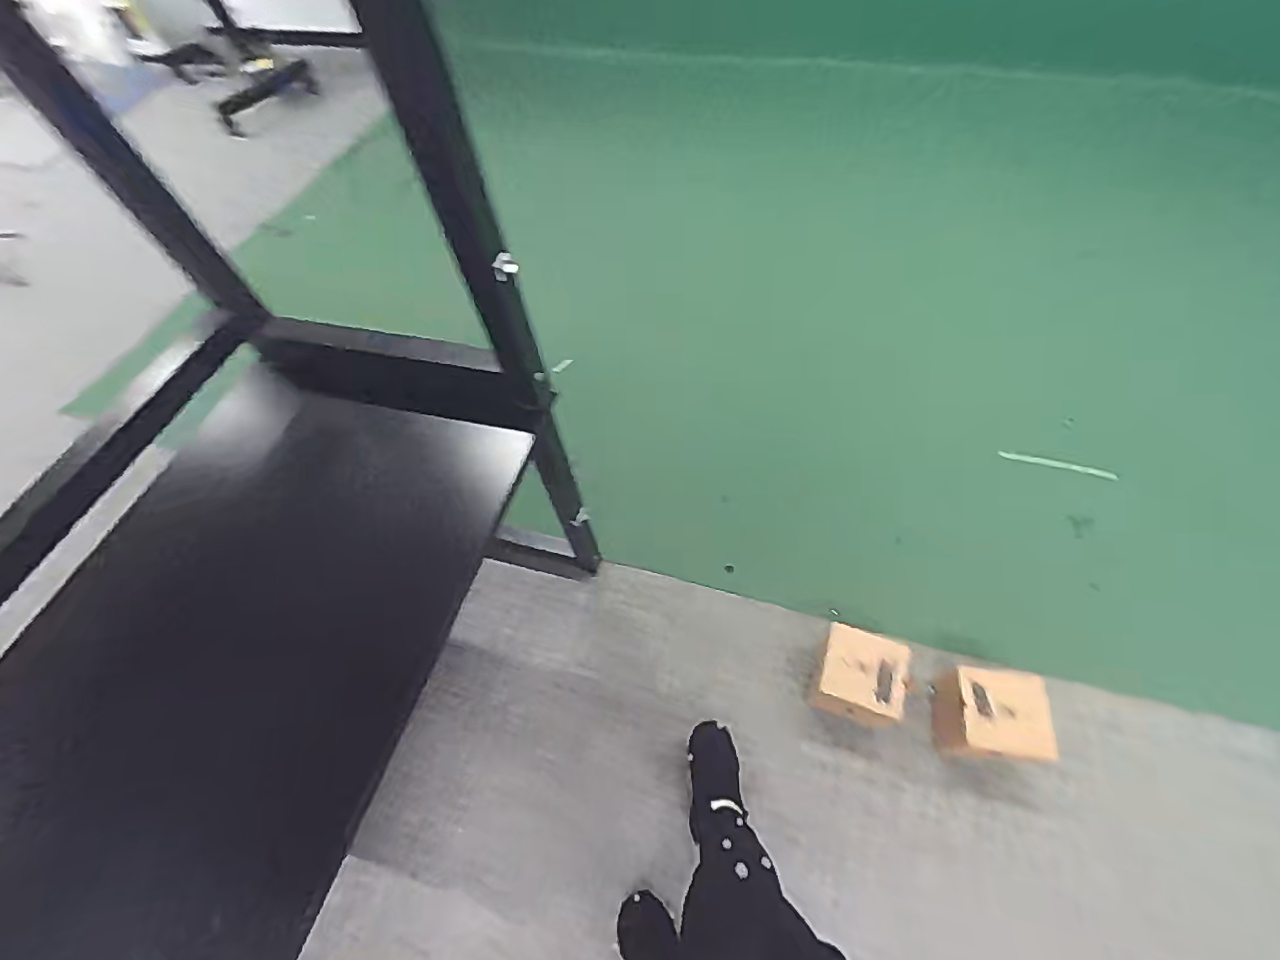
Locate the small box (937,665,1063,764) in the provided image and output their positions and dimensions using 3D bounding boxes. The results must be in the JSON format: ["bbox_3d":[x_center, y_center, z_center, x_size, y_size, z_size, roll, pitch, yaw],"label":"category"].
[{"bbox_3d":[0.780,0.524,1.198,0.179,0.176,0.168,7,60,8],"label":"small box"}]
